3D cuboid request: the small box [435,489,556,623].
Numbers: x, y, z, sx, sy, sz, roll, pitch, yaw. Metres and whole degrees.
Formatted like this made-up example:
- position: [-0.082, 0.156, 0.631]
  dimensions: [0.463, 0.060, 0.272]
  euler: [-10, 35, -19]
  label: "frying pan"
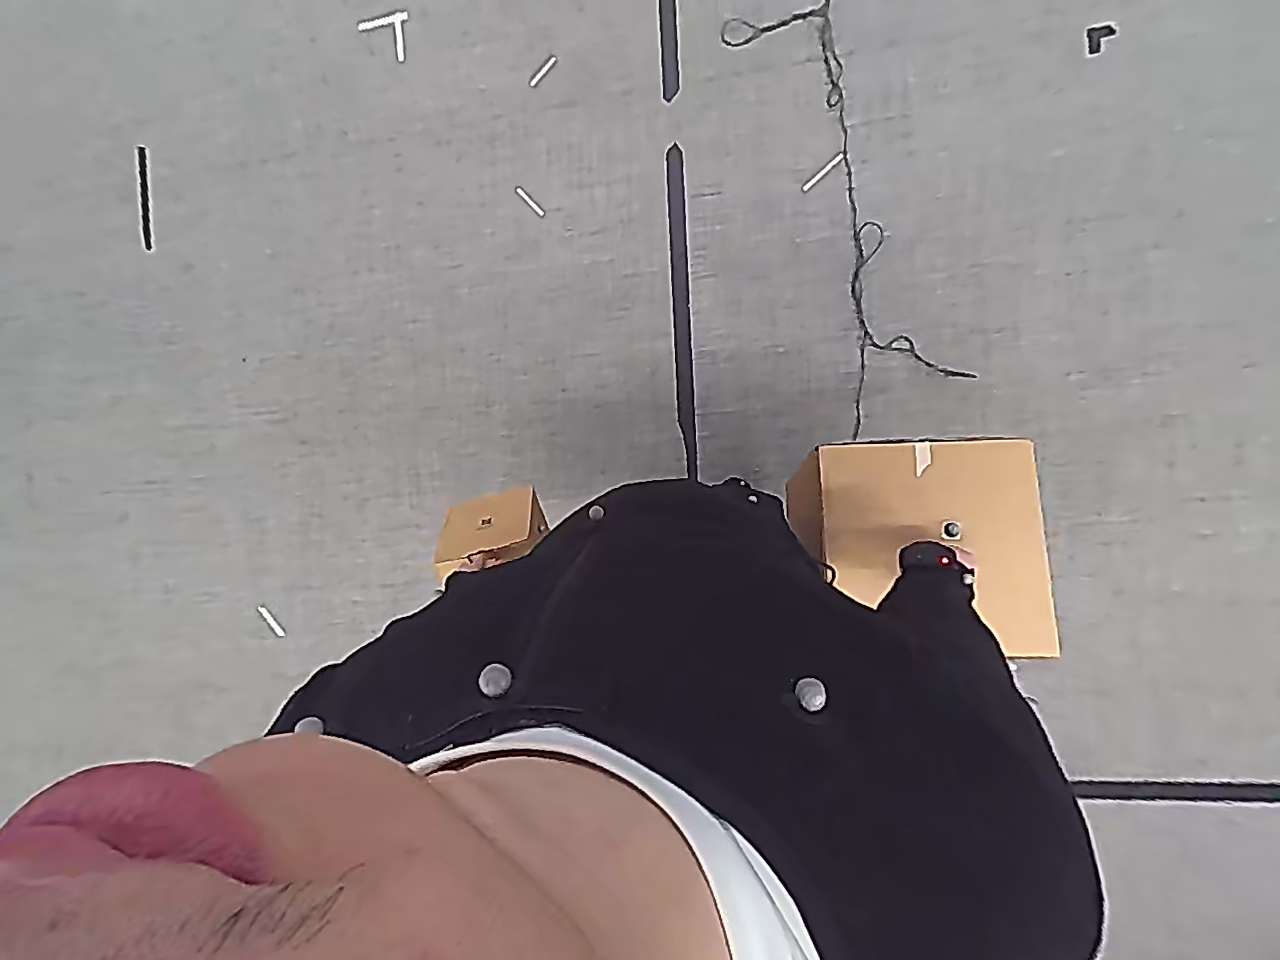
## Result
- position: [-0.258, 0.147, 1.012]
  dimensions: [0.168, 0.179, 0.176]
  euler: [-14, 120, -1]
  label: "small box"
